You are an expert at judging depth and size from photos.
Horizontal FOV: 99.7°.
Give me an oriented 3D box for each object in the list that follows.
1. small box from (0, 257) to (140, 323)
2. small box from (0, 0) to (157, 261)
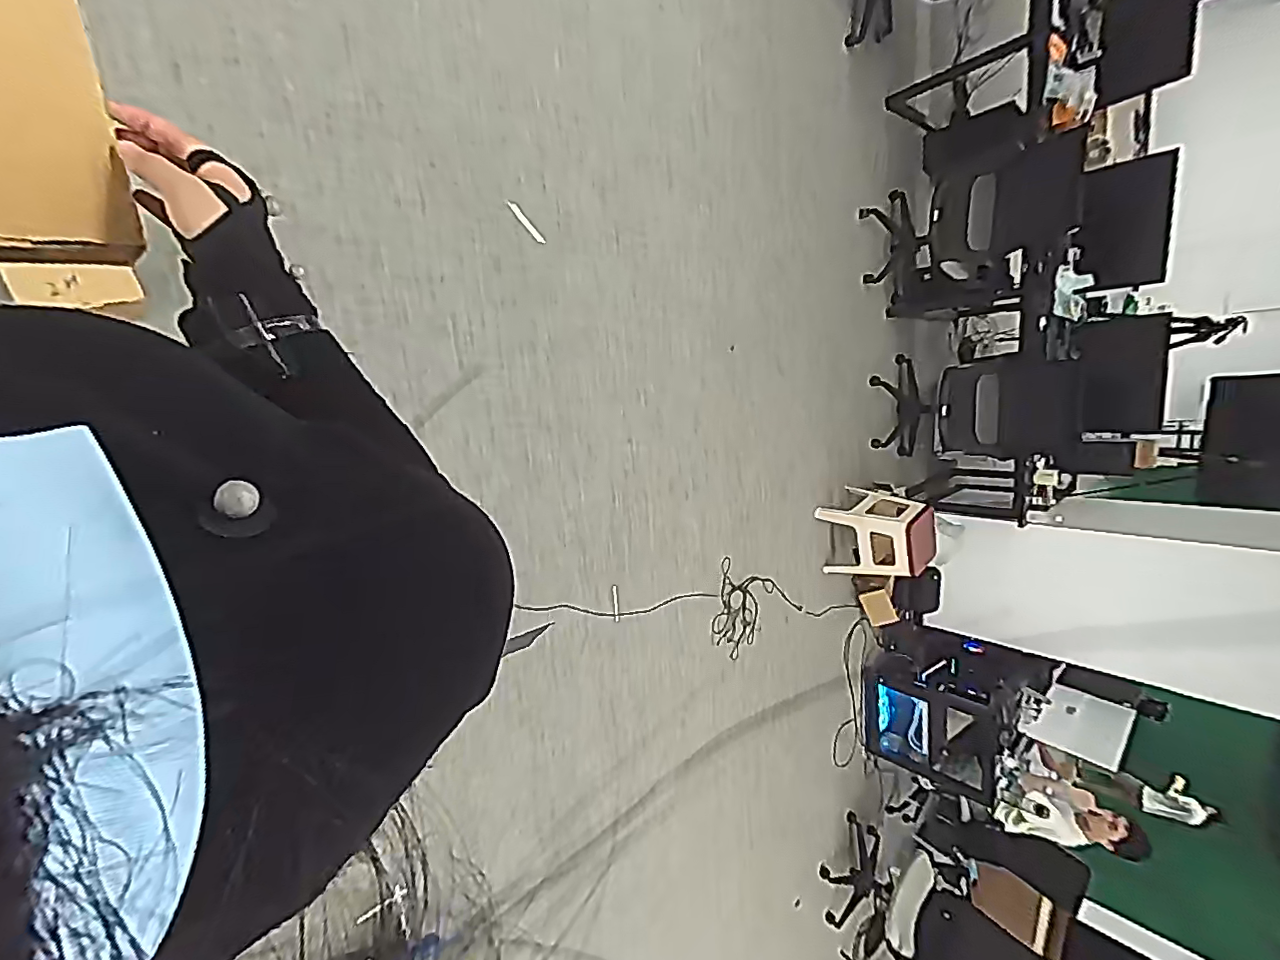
[{"bbox_3d":[-1.045,-0.394,0.973,0.168,0.176,0.179,-27,112,-36],"label":"small box"},{"bbox_3d":[-0.477,-0.255,0.378,0.168,0.176,0.179,-19,116,-41],"label":"small box"}]
